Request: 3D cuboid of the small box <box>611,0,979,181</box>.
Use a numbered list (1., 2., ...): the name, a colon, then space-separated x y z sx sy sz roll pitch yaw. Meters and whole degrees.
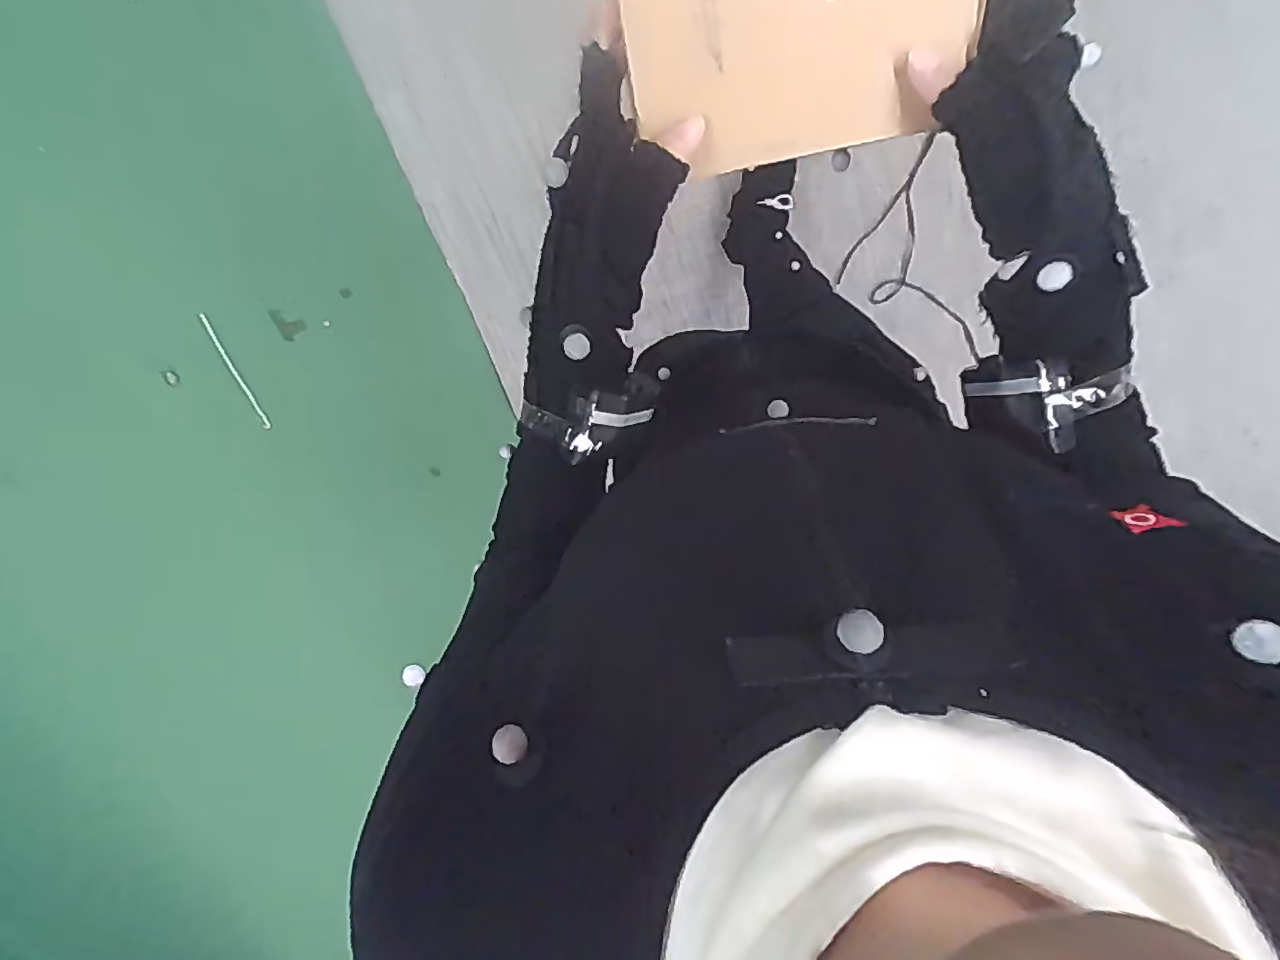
1. small box: 0.072 -0.290 0.322 0.179 0.176 0.168 -10 119 6
